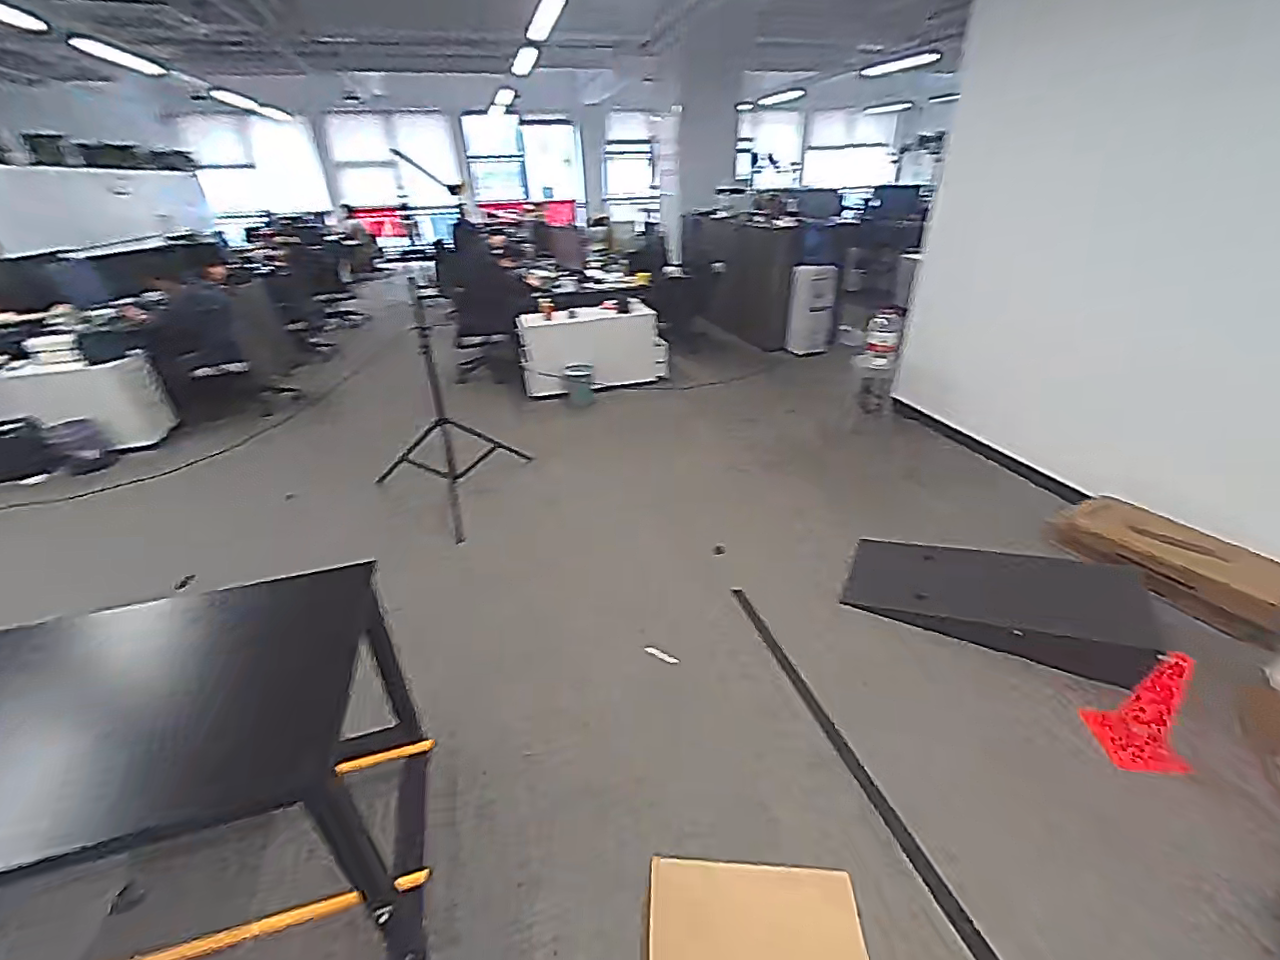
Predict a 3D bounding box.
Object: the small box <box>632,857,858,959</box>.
[{"bbox_3d":[0.076,0.435,0.428,0.168,0.176,0.179,3,37,0],"label":"small box"}]
